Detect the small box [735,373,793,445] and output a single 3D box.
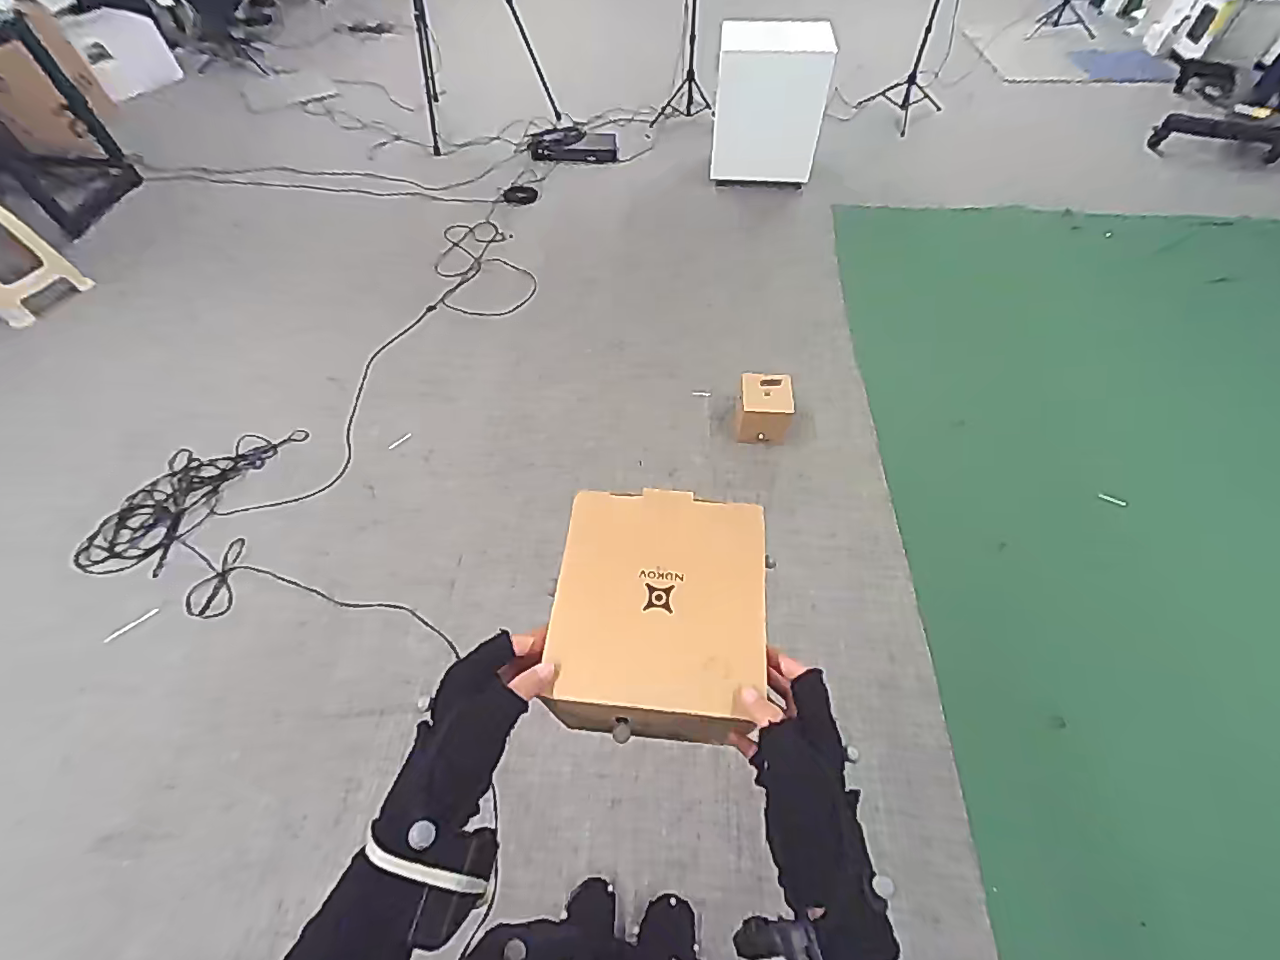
[{"bbox_3d":[0.420,-0.243,1.855,0.168,0.176,0.179,3,56,3],"label":"small box"}]
